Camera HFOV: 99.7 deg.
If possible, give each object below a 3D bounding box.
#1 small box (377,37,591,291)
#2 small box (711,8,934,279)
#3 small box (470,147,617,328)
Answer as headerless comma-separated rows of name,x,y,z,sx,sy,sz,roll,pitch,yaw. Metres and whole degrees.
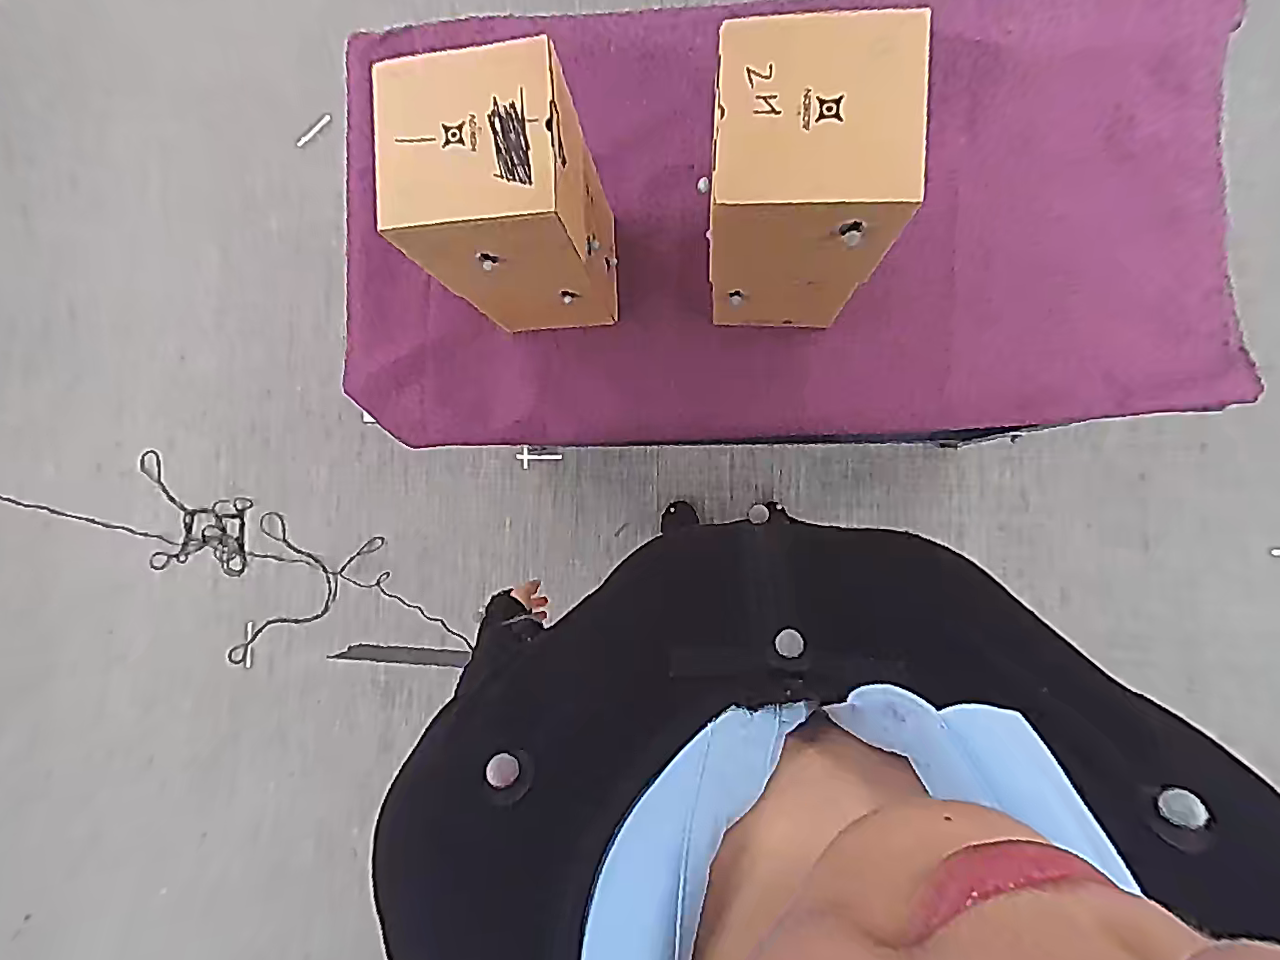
small box,-0.151,-0.317,0.578,0.179,0.176,0.168,-3,88,7
small box,0.163,-0.312,0.536,0.179,0.176,0.168,3,88,8
small box,-0.133,-0.317,0.742,0.179,0.176,0.168,-3,88,6
